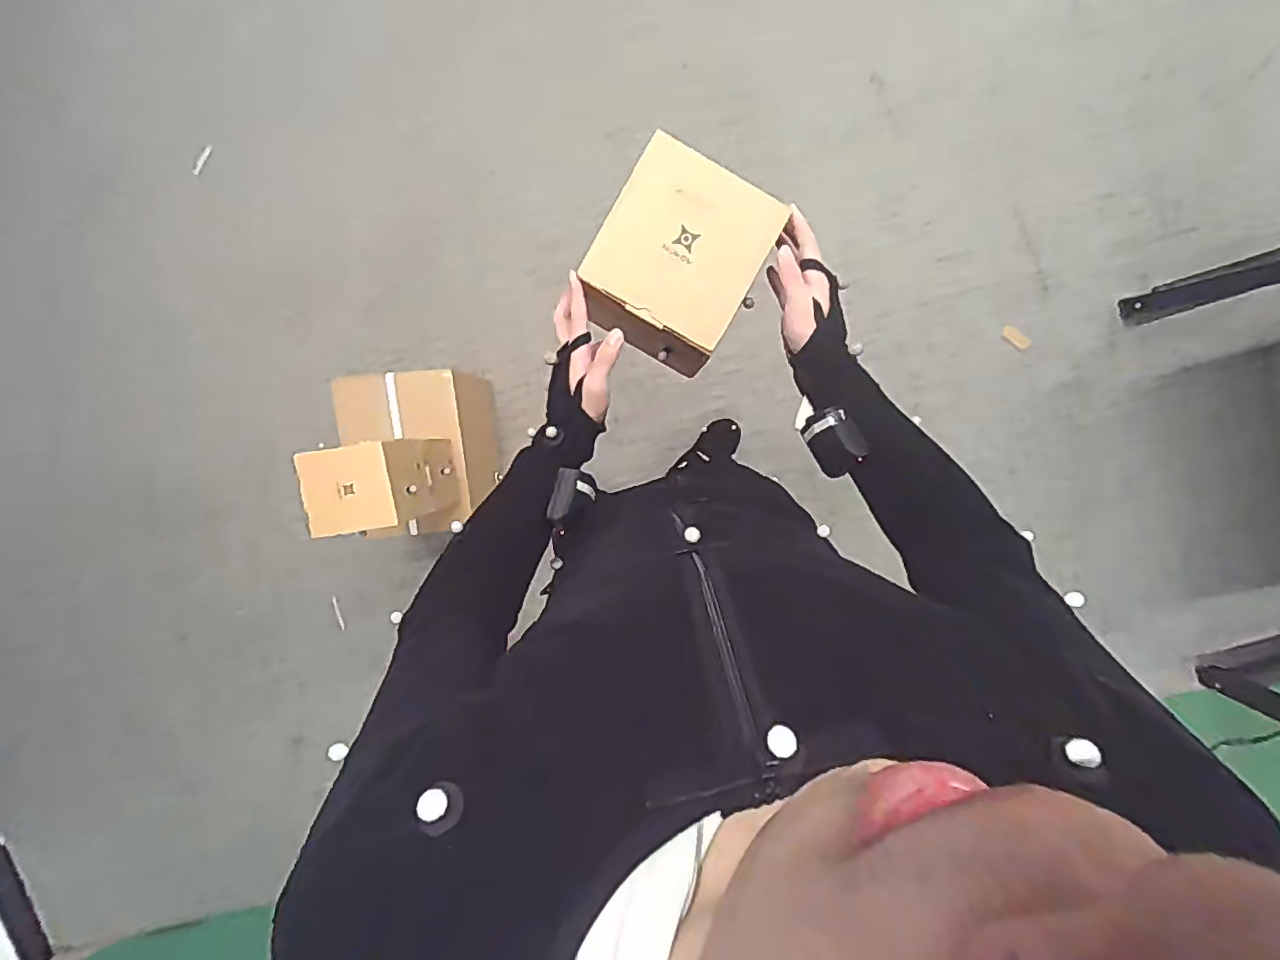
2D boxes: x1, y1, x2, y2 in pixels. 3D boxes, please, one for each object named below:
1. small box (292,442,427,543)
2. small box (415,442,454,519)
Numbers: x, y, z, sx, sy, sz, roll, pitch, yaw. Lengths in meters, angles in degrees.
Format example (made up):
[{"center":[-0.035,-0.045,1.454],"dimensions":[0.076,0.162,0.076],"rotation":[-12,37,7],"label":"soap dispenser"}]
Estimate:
[{"center":[-0.552,0.018,1.094],"dimensions":[0.179,0.176,0.168],"rotation":[-9,96,3],"label":"small box"},{"center":[-0.547,0.005,1.257],"dimensions":[0.179,0.176,0.168],"rotation":[-9,95,2],"label":"small box"}]
